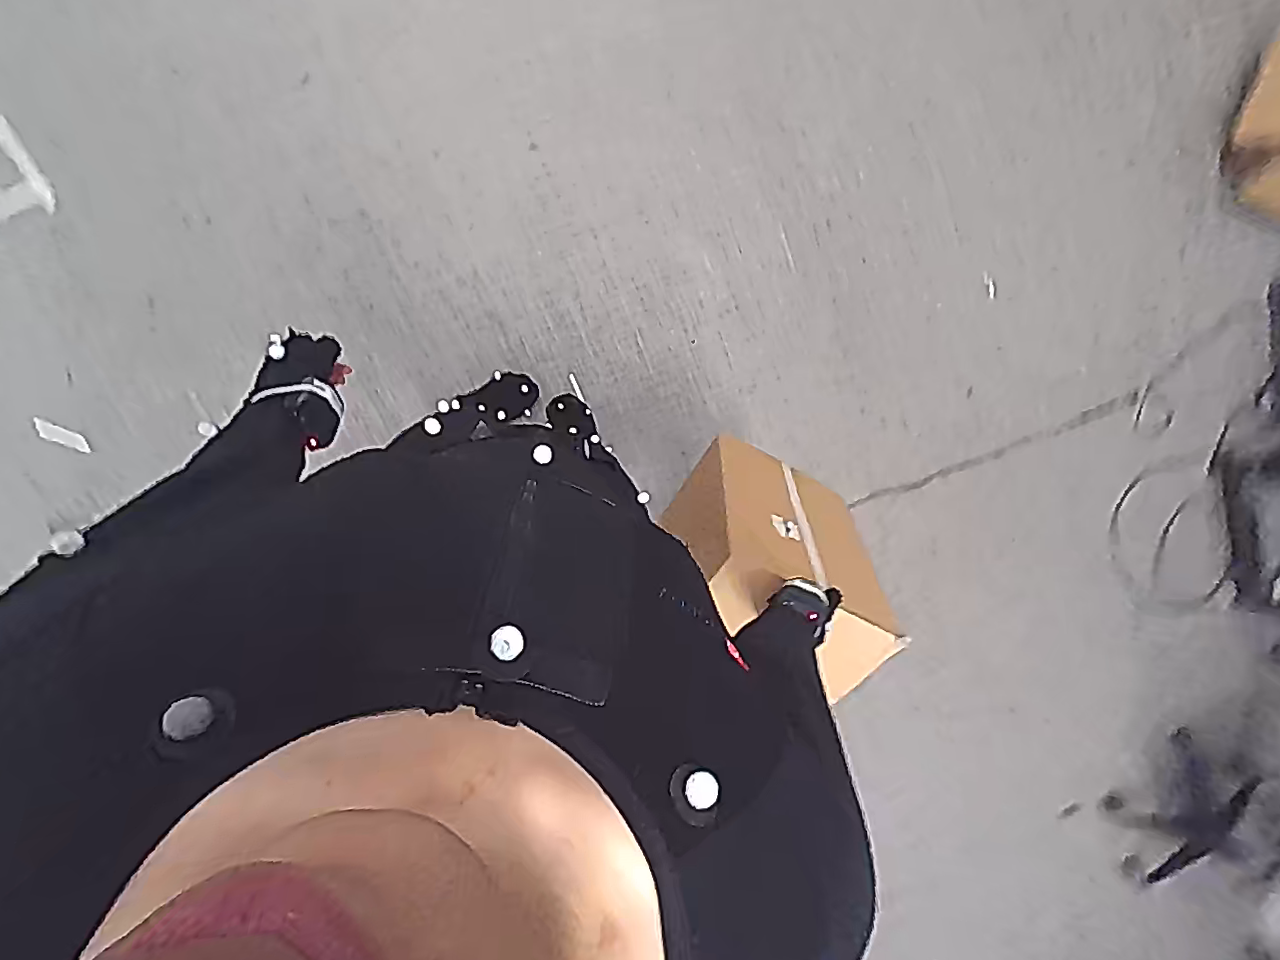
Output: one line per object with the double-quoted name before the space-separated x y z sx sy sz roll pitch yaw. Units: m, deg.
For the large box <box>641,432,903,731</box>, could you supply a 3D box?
"large box" 0.214 0.180 1.037 0.320 0.408 0.320 25 121 -10
